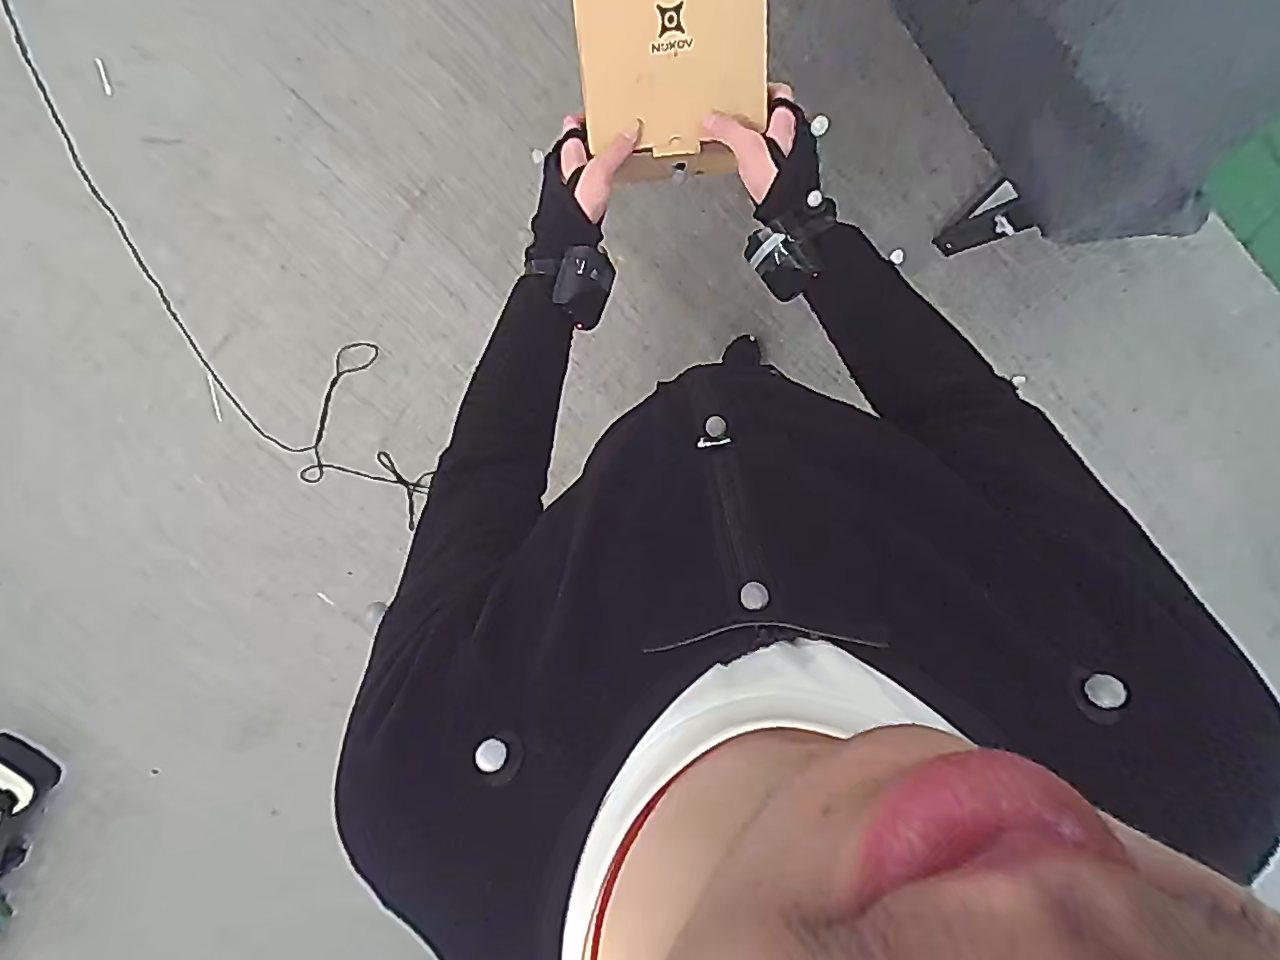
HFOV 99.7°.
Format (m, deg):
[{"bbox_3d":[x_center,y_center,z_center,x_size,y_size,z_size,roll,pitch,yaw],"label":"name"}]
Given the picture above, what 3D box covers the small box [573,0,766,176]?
[{"bbox_3d":[0.035,-0.421,0.546,0.168,0.176,0.179,-5,110,9],"label":"small box"}]
